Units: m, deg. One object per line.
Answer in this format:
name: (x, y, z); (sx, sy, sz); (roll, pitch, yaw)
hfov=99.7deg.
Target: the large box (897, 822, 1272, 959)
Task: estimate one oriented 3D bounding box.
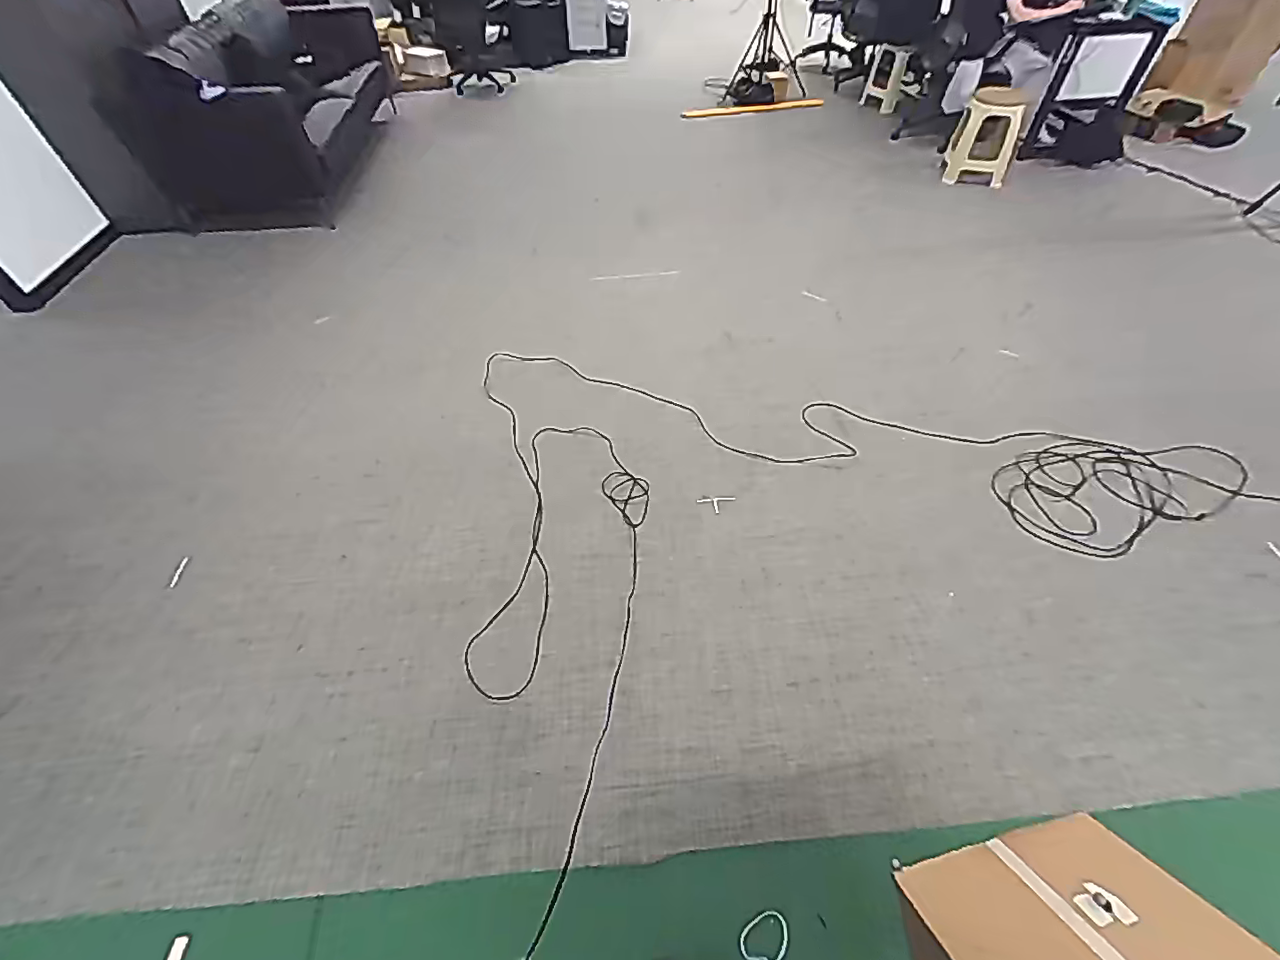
large box: (0.578, 0.704, 0.616); (0.320, 0.408, 0.320); (-14, 93, -4)
